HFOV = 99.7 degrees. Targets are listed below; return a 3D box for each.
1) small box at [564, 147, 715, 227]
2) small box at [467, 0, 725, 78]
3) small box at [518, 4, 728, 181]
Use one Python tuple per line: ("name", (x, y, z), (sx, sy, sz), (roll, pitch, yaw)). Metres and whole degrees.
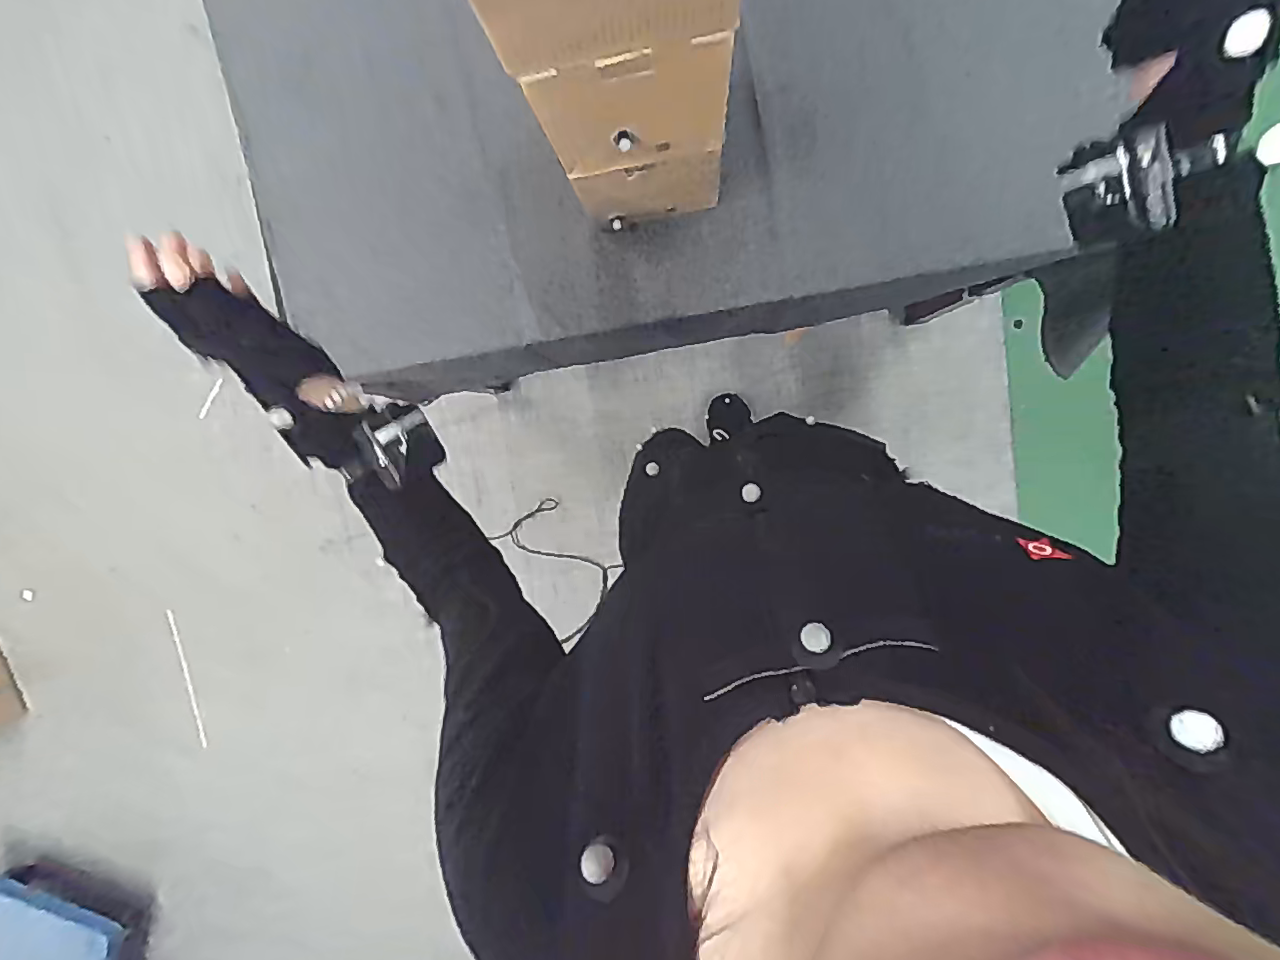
("small box", (-0.001, -0.423, 0.645), (0.168, 0.176, 0.179), (-8, 94, 7))
("small box", (-0.034, -0.387, 0.322), (0.179, 0.176, 0.168), (-7, 95, 7))
("small box", (-0.018, -0.406, 0.485), (0.168, 0.176, 0.179), (-8, 95, 7))
